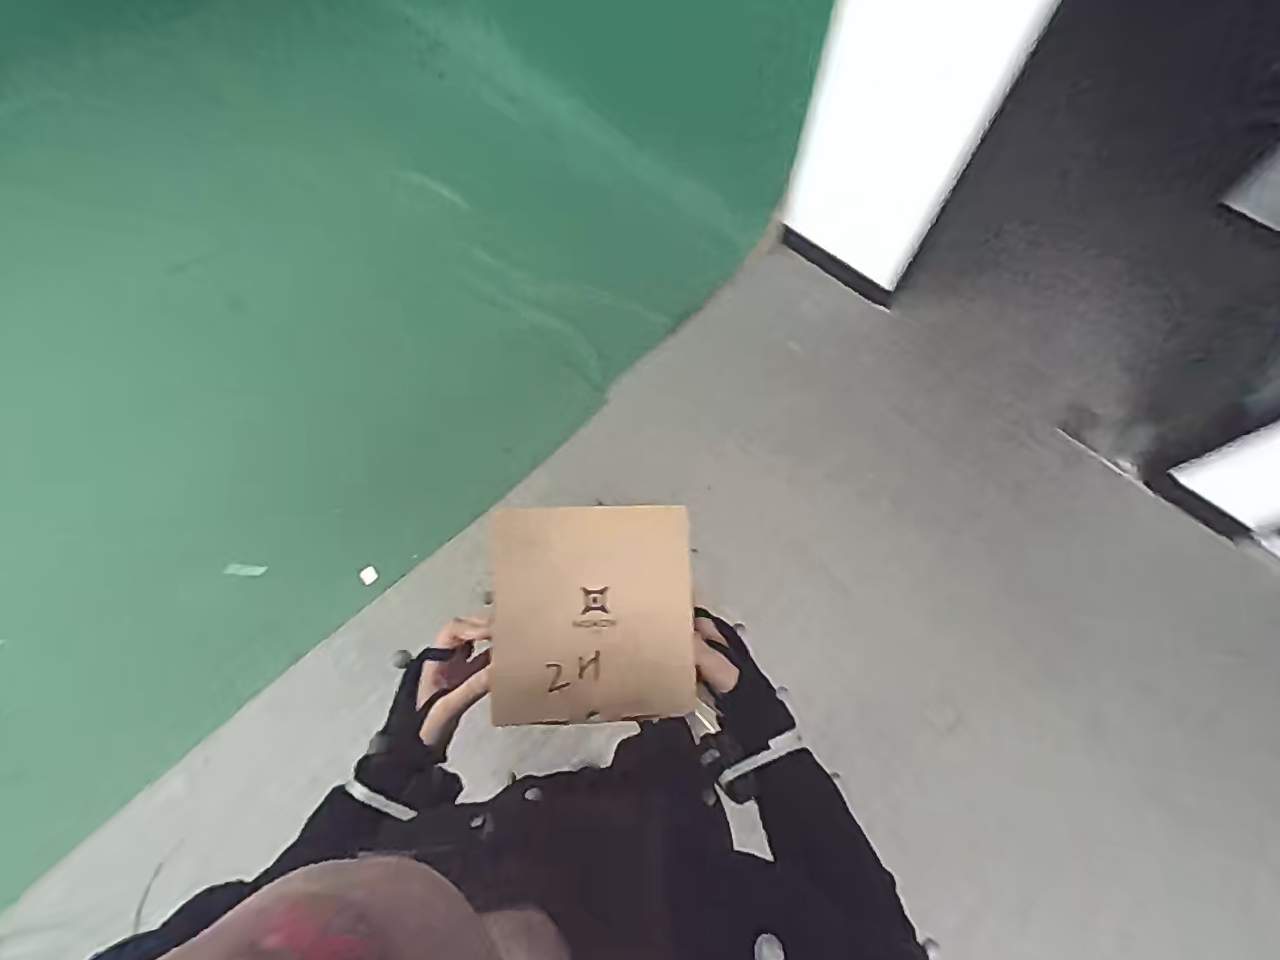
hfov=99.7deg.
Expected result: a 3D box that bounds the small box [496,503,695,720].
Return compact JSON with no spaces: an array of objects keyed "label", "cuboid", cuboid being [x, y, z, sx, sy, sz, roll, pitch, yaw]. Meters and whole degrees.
[{"label":"small box","cuboid":[-0.045,0.119,0.532,0.168,0.176,0.179,-1,82,-6]}]
